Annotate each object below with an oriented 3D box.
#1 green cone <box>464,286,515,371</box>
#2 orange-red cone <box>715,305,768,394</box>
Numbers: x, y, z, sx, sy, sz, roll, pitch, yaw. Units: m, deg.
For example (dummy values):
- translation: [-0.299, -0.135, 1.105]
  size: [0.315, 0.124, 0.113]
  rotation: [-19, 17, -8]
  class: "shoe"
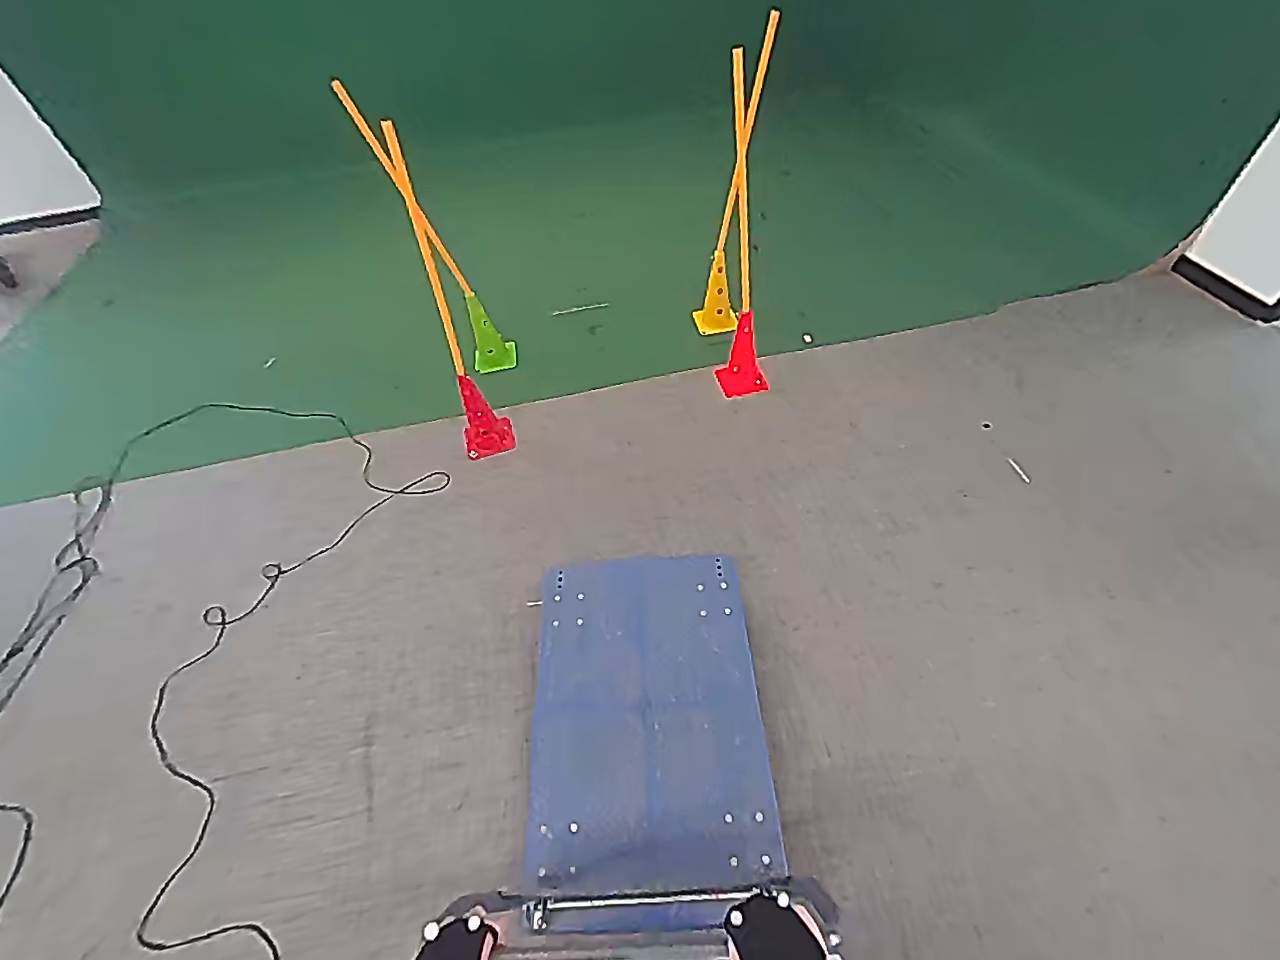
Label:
- translation: [-0.725, -0.715, 2.488]
  size: [0.200, 0.368, 0.202]
  rotation: [-12, 50, -2]
  class: "green cone"
- translation: [0.428, -0.560, 2.238]
  size: [0.198, 0.360, 0.199]
  rotation: [-11, 49, -3]
  class: "orange-red cone"
